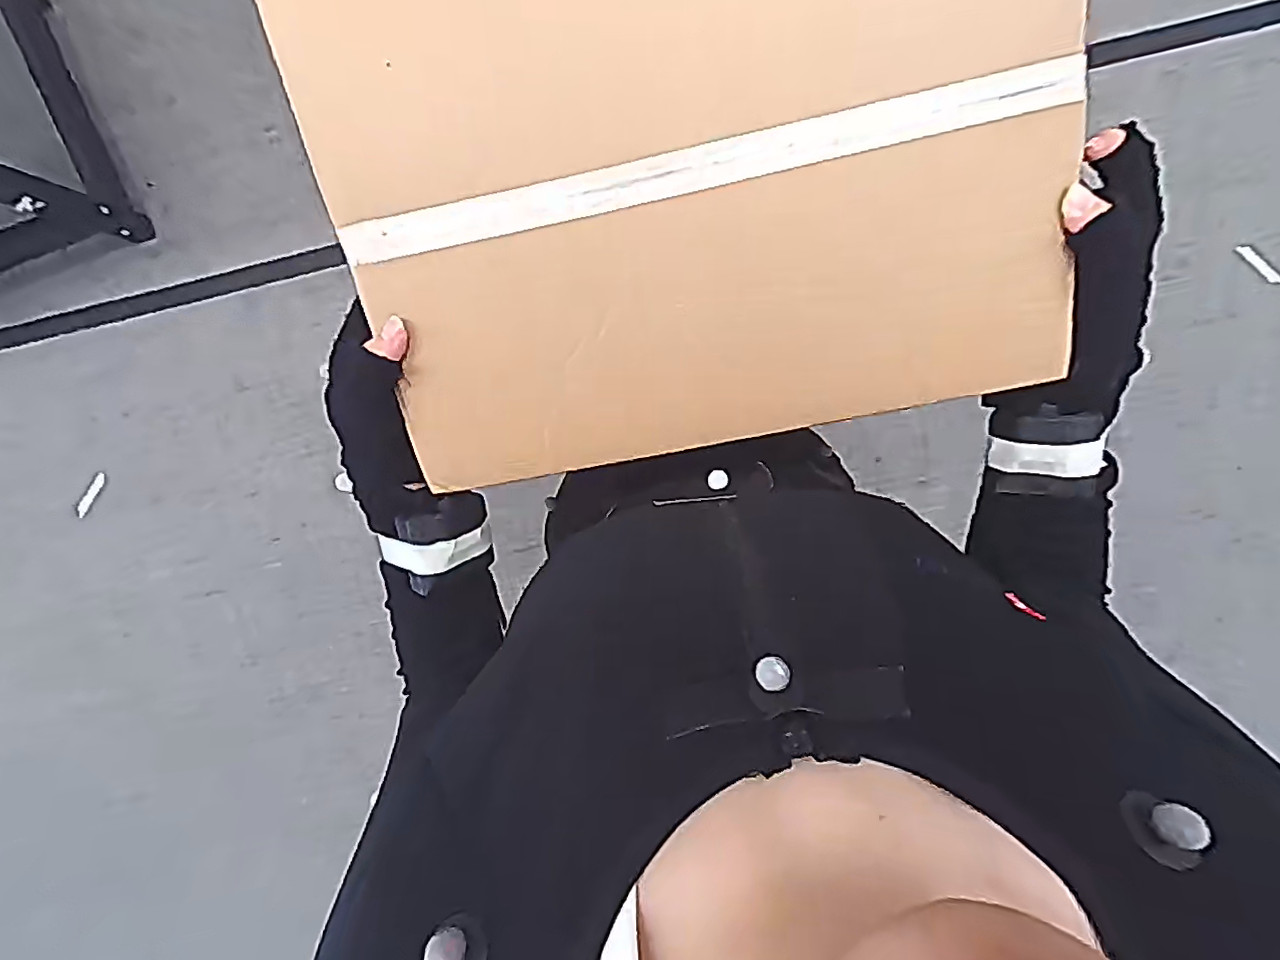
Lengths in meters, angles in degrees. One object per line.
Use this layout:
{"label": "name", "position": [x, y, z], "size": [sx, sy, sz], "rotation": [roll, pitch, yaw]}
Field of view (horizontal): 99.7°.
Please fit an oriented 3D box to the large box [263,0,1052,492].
{"label": "large box", "position": [0.027, -0.219, 0.447], "size": [0.408, 0.320, 0.320], "rotation": [-10, 109, 4]}
